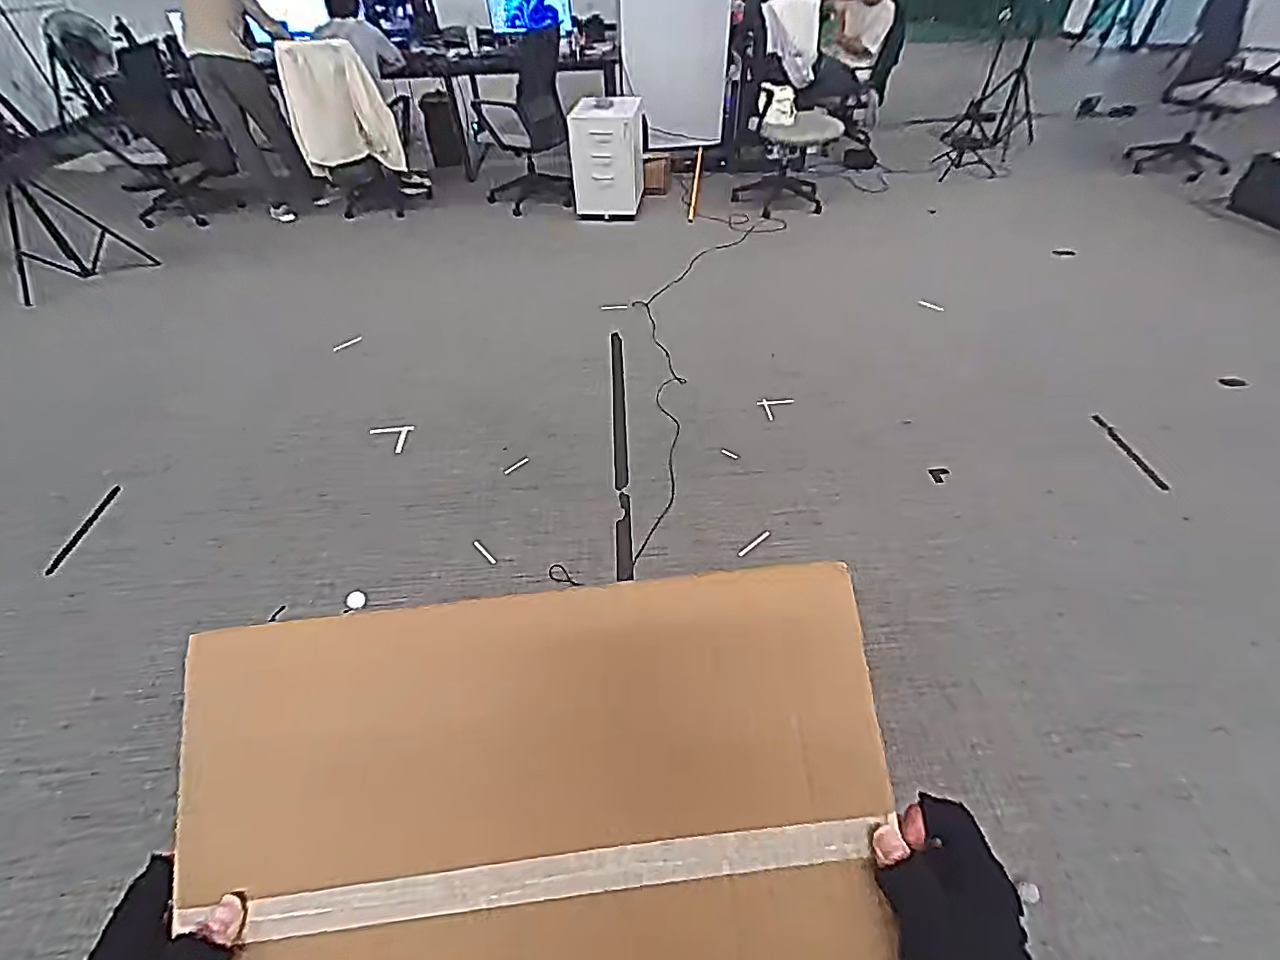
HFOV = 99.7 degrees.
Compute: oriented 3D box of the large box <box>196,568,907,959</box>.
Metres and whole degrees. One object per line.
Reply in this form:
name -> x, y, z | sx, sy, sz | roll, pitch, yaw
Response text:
large box -> -0.055, 0.261, 0.459 | 0.408, 0.320, 0.320 | -6, 79, -2
